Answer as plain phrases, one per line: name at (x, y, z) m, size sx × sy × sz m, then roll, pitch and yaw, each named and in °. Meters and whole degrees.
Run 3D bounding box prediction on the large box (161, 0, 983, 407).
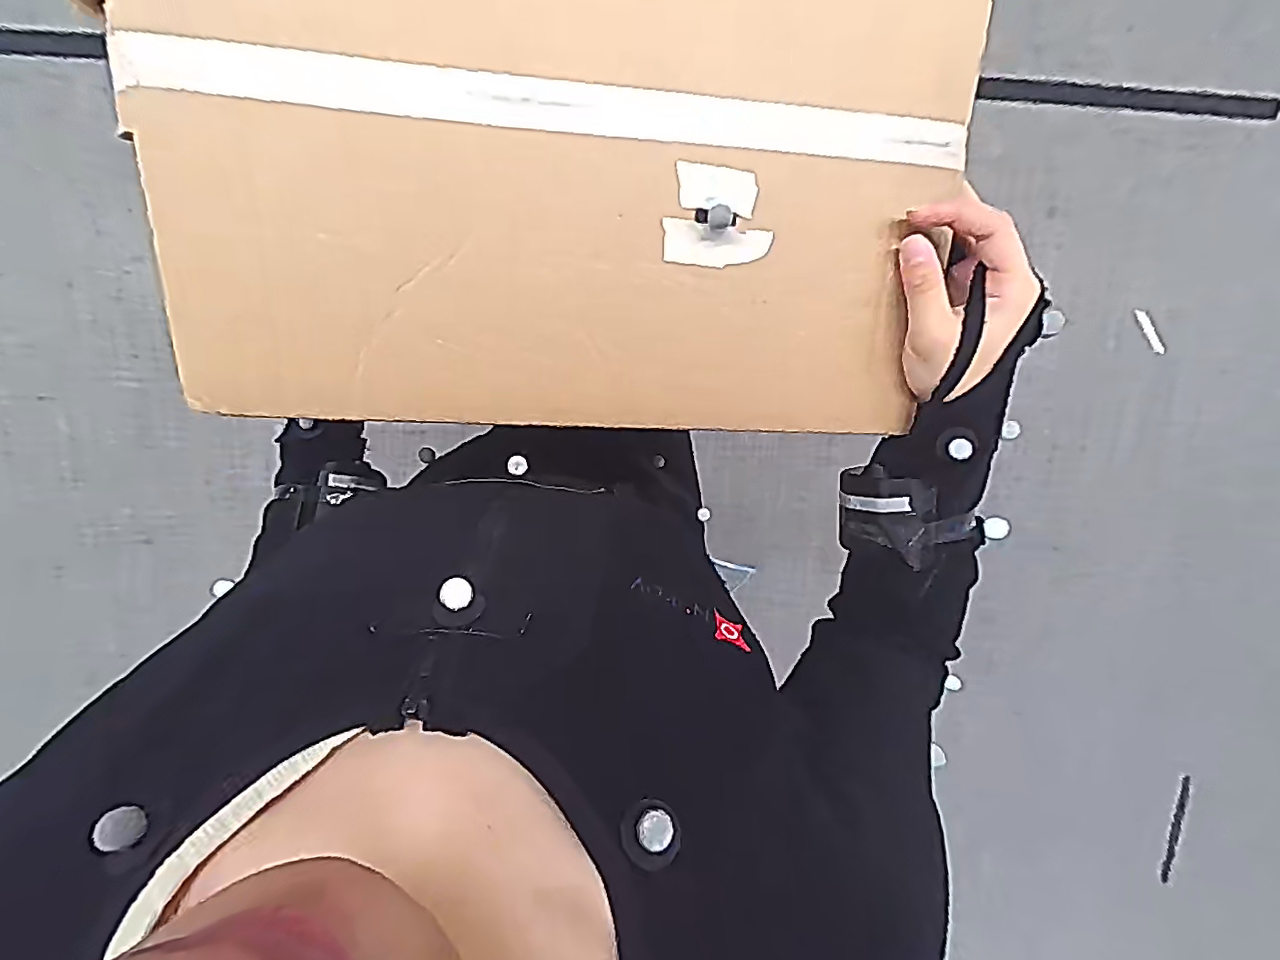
large box at (-0.042, -0.232, 0.415) m, size 0.408 × 0.320 × 0.320 m, roll 1°, pitch 106°, yaw -10°
